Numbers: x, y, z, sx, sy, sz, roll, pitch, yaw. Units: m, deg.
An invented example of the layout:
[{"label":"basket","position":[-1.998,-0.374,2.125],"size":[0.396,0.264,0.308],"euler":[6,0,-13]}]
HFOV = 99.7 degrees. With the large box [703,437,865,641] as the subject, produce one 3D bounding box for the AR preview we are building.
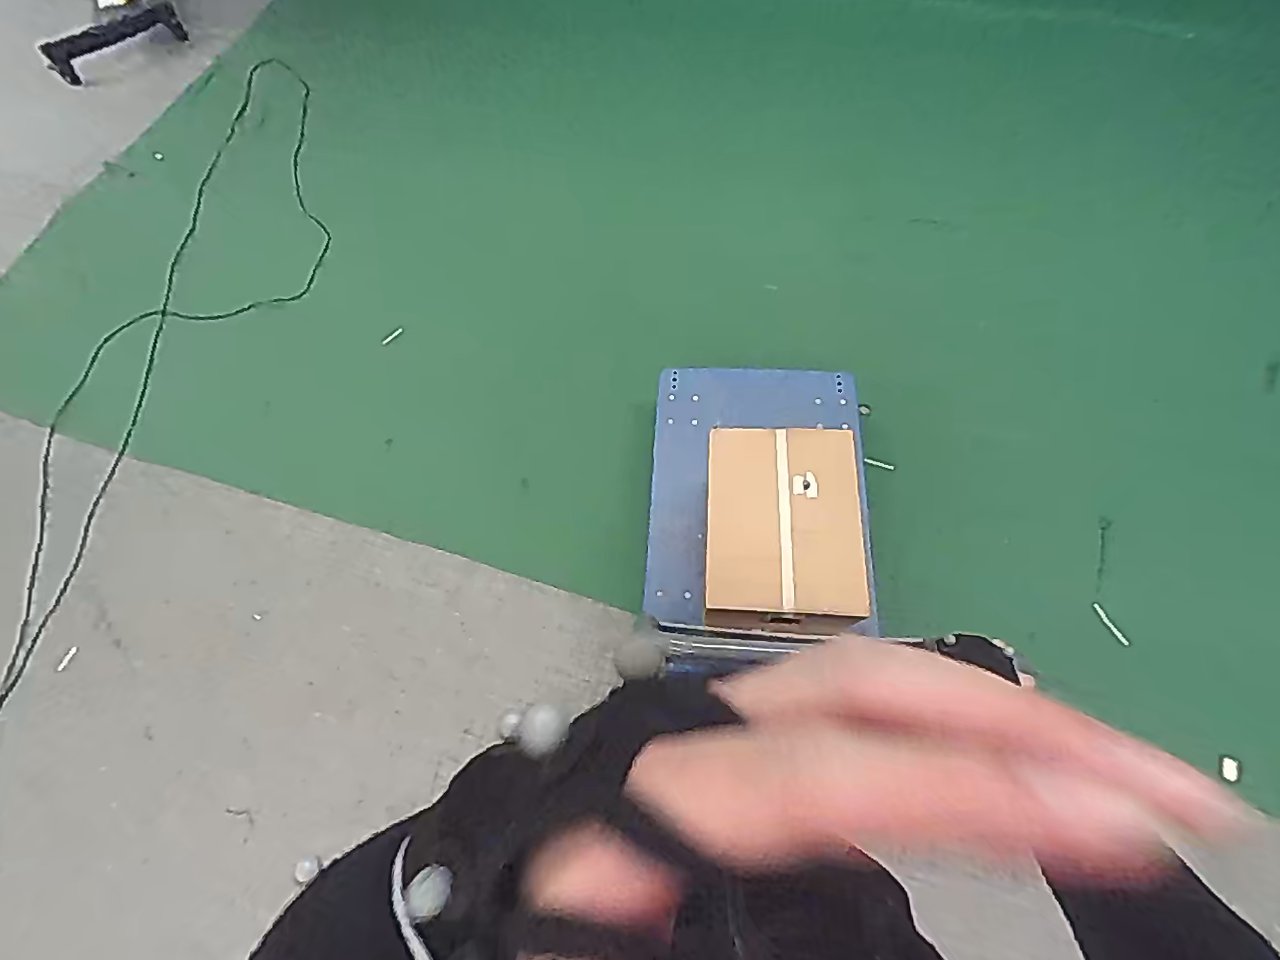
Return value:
[{"label":"large box","position":[0.306,0.148,1.265],"size":[0.320,0.320,0.408],"euler":[2,66,6]}]
